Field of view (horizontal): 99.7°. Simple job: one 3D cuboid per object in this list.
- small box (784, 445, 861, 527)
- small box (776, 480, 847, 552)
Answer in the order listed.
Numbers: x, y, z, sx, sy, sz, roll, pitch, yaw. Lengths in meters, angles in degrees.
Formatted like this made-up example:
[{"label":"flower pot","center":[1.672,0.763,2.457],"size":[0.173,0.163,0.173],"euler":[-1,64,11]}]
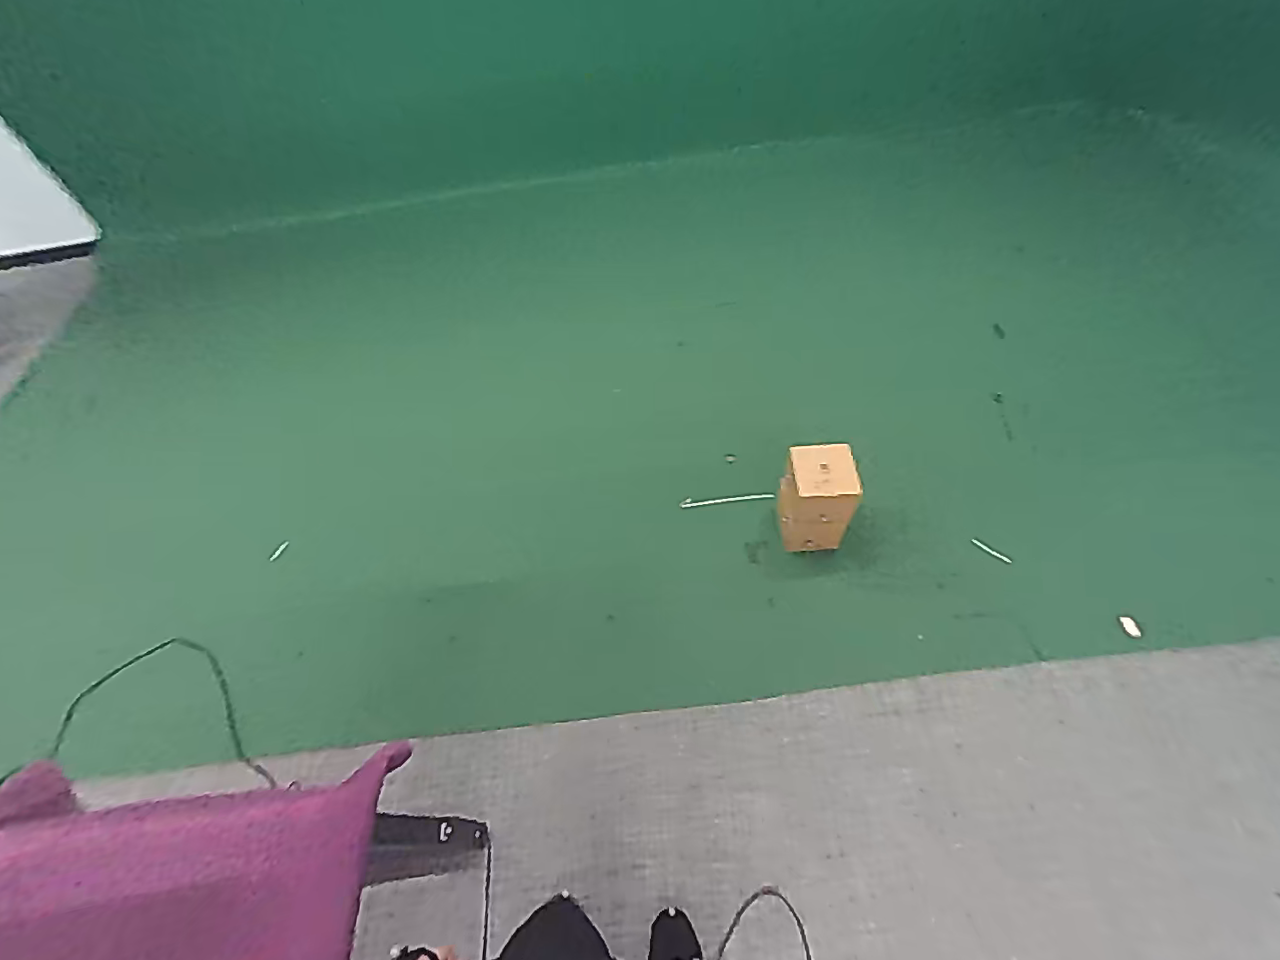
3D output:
[{"label":"small box","center":[0.520,0.020,1.570],"size":[0.168,0.176,0.179],"euler":[-3,56,5]},{"label":"small box","center":[0.533,0.110,1.708],"size":[0.168,0.176,0.179],"euler":[-5,56,3]}]
